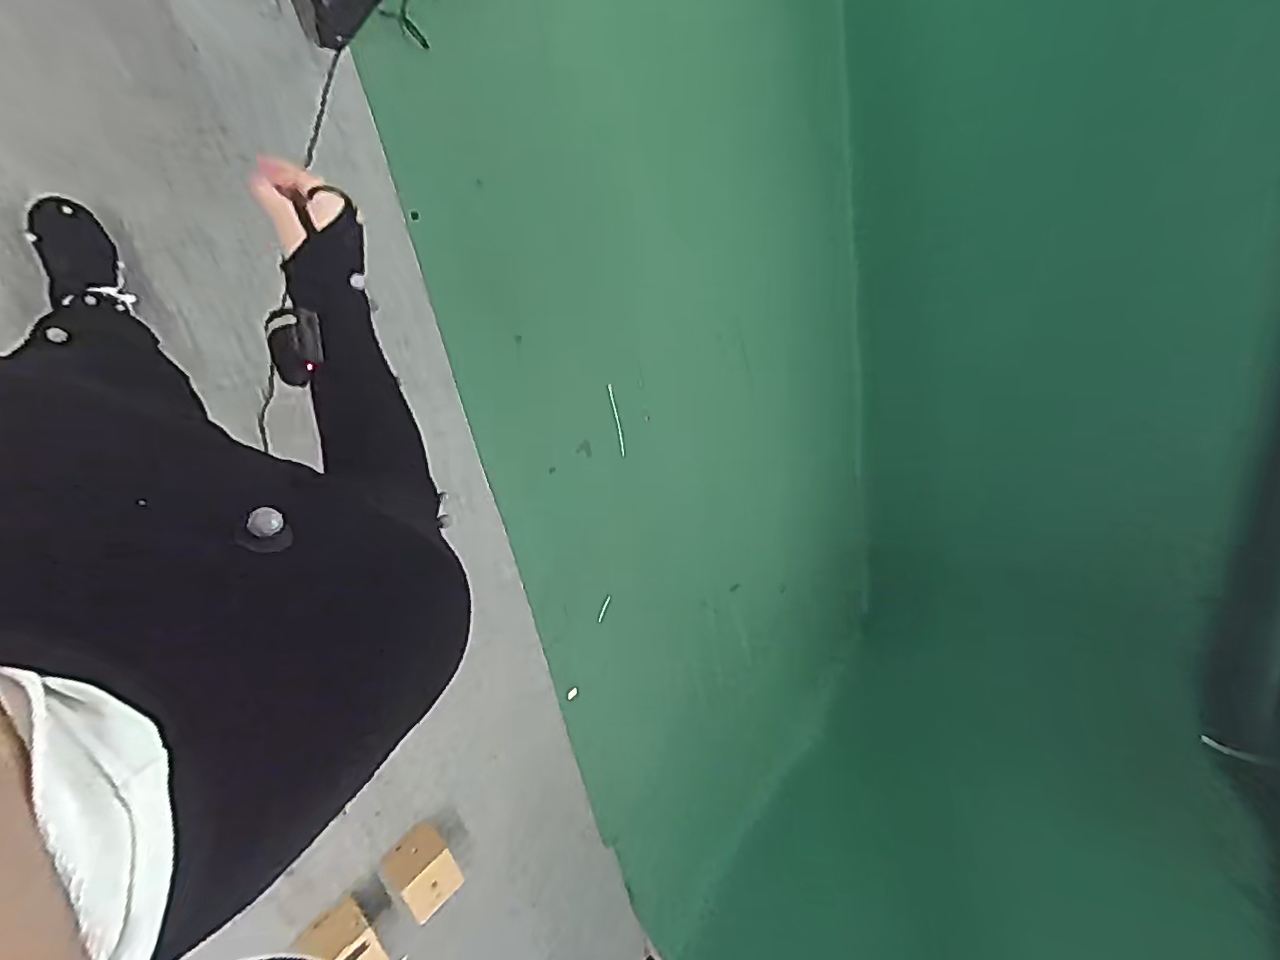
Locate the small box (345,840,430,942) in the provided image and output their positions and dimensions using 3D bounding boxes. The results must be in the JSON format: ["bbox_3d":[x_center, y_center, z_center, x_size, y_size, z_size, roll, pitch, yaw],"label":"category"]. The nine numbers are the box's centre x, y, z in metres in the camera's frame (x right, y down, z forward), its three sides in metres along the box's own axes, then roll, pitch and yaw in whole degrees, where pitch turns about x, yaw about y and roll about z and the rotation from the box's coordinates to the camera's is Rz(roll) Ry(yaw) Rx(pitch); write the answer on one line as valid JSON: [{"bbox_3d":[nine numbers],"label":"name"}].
[{"bbox_3d":[-0.811,1.300,1.730,0.168,0.176,0.179,-31,120,-41],"label":"small box"}]
